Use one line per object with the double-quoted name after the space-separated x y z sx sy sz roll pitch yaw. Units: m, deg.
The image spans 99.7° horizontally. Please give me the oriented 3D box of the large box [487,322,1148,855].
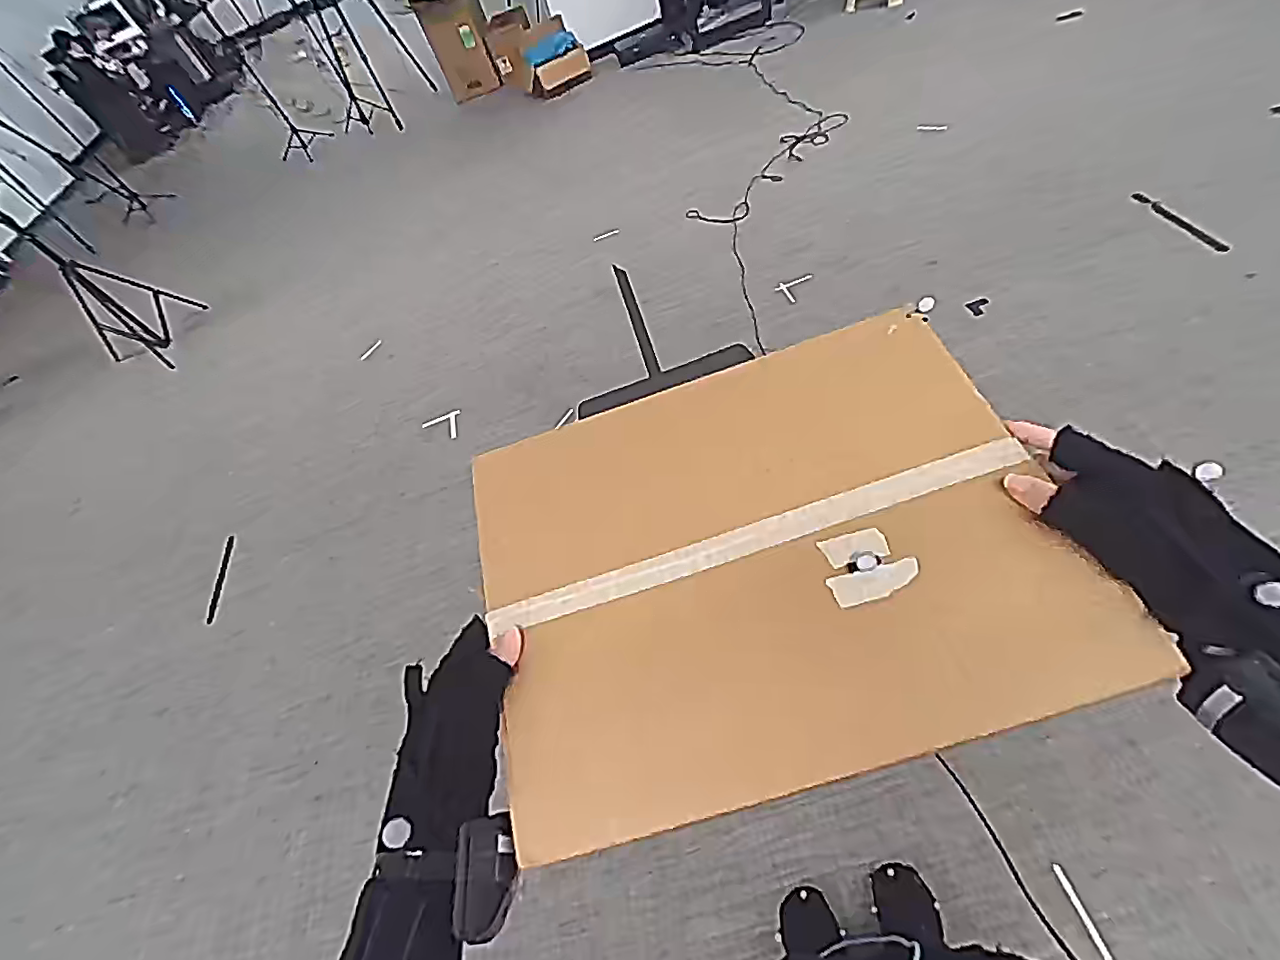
0.113 0.119 0.536 0.408 0.320 0.320 -19 60 3 "large box"
